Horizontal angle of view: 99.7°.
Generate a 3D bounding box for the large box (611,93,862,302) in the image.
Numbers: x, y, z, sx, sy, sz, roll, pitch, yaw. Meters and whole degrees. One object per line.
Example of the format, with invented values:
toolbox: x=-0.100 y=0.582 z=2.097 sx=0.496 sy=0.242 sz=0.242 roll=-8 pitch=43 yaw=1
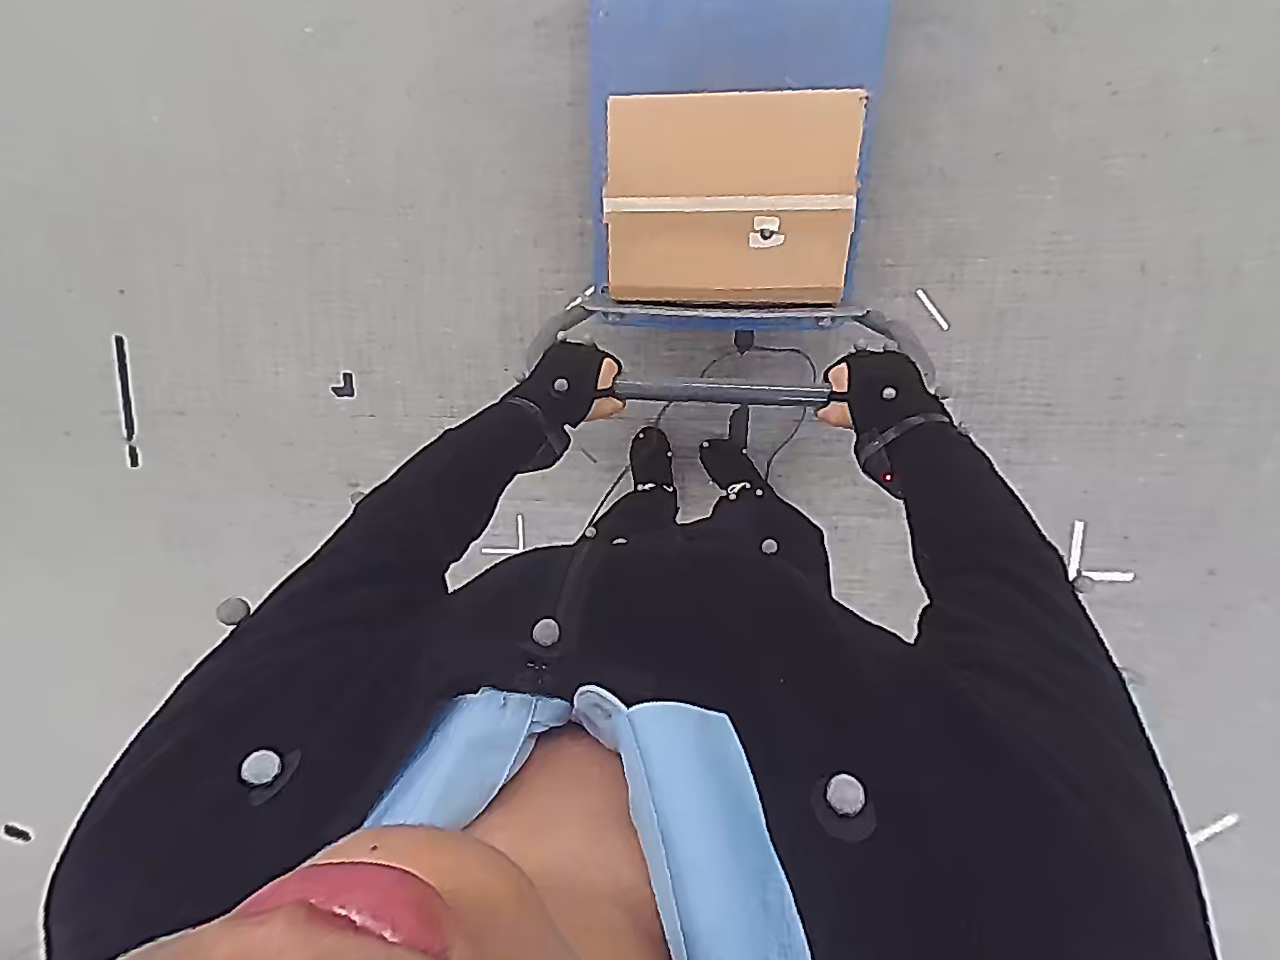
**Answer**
large box: x=0.165 y=-0.515 z=1.053 sx=0.408 sy=0.320 sz=0.320 roll=3 pitch=110 yaw=5
